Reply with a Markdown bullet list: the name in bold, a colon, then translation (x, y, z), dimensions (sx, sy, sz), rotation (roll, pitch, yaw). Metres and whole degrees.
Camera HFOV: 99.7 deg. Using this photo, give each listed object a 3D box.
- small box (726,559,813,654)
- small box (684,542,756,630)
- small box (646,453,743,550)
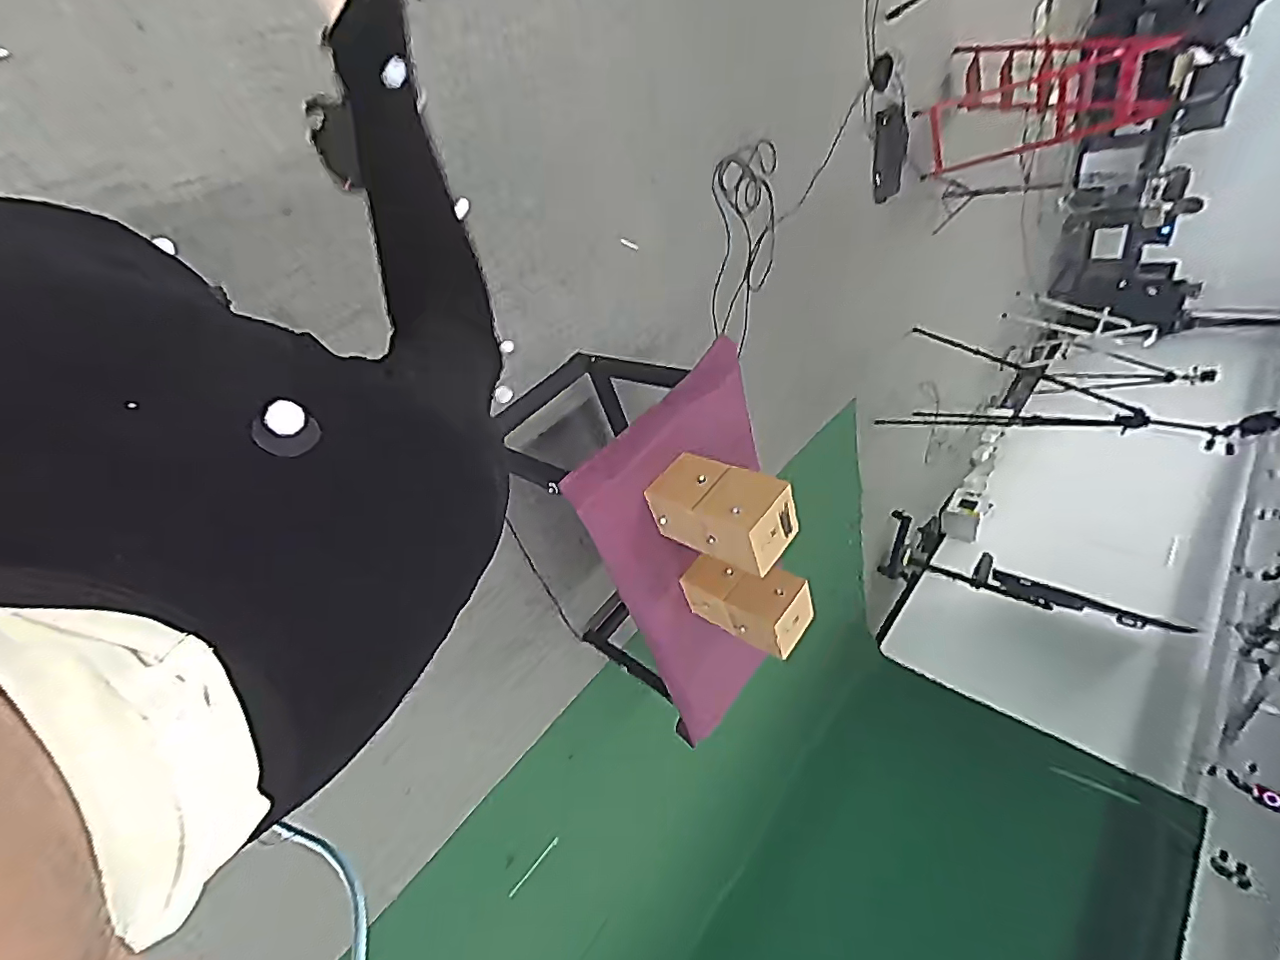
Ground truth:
- **small box**: translation (0.373, 0.355, 1.551), dimensions (0.179, 0.176, 0.168), rotation (-45, 131, -28)
- **small box**: translation (0.252, 0.318, 1.657), dimensions (0.179, 0.176, 0.168), rotation (-46, 132, -27)
- **small box**: translation (0.146, 0.050, 1.441), dimensions (0.179, 0.176, 0.168), rotation (-45, 132, -26)
